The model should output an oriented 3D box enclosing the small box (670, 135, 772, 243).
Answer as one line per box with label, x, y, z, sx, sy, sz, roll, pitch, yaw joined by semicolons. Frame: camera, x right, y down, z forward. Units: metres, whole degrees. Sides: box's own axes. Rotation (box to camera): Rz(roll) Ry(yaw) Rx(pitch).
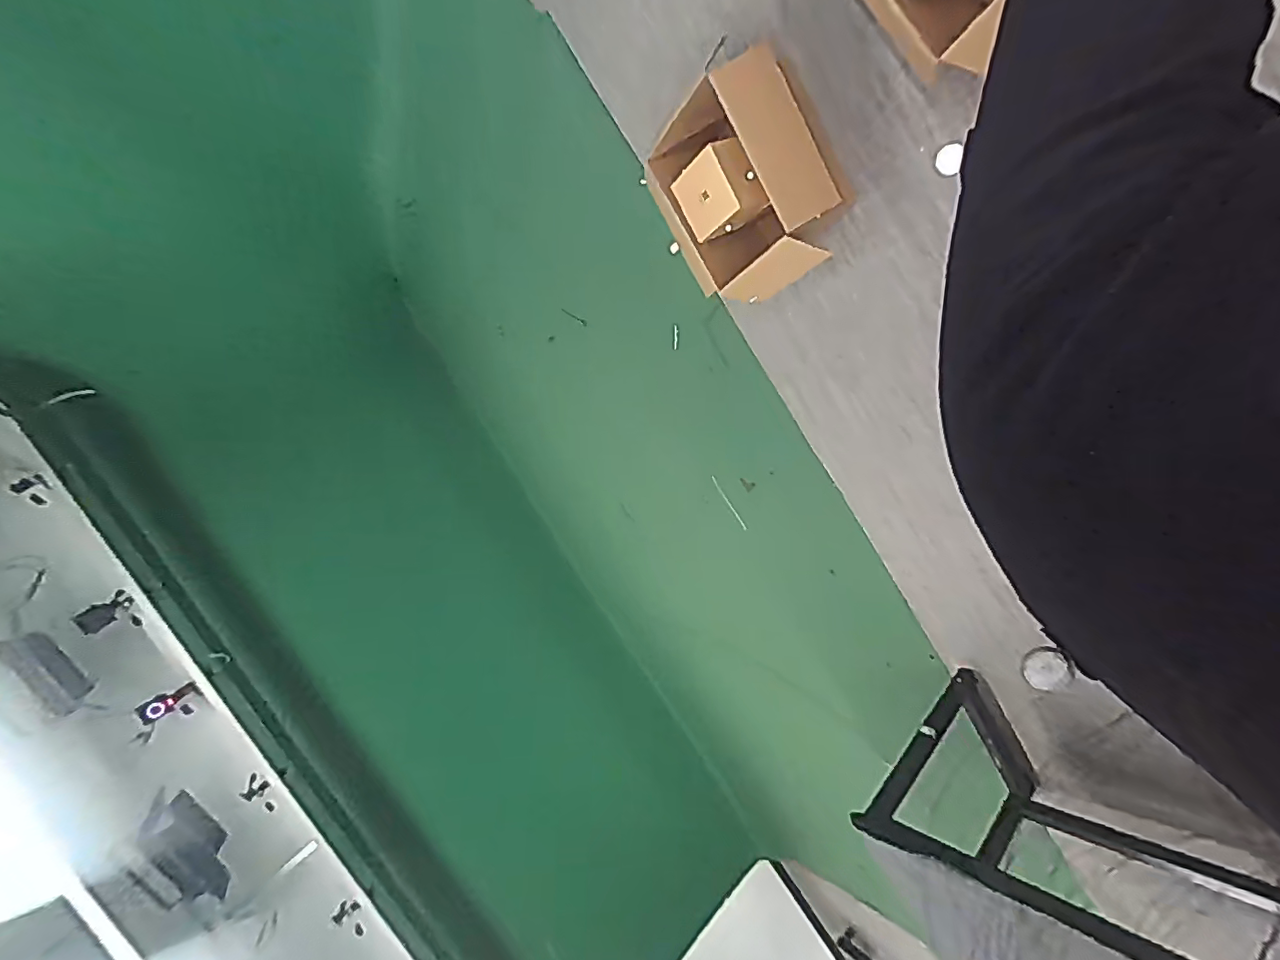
small box;0.219;-0.758;1.407;0.168;0.176;0.179;60;150;-8
